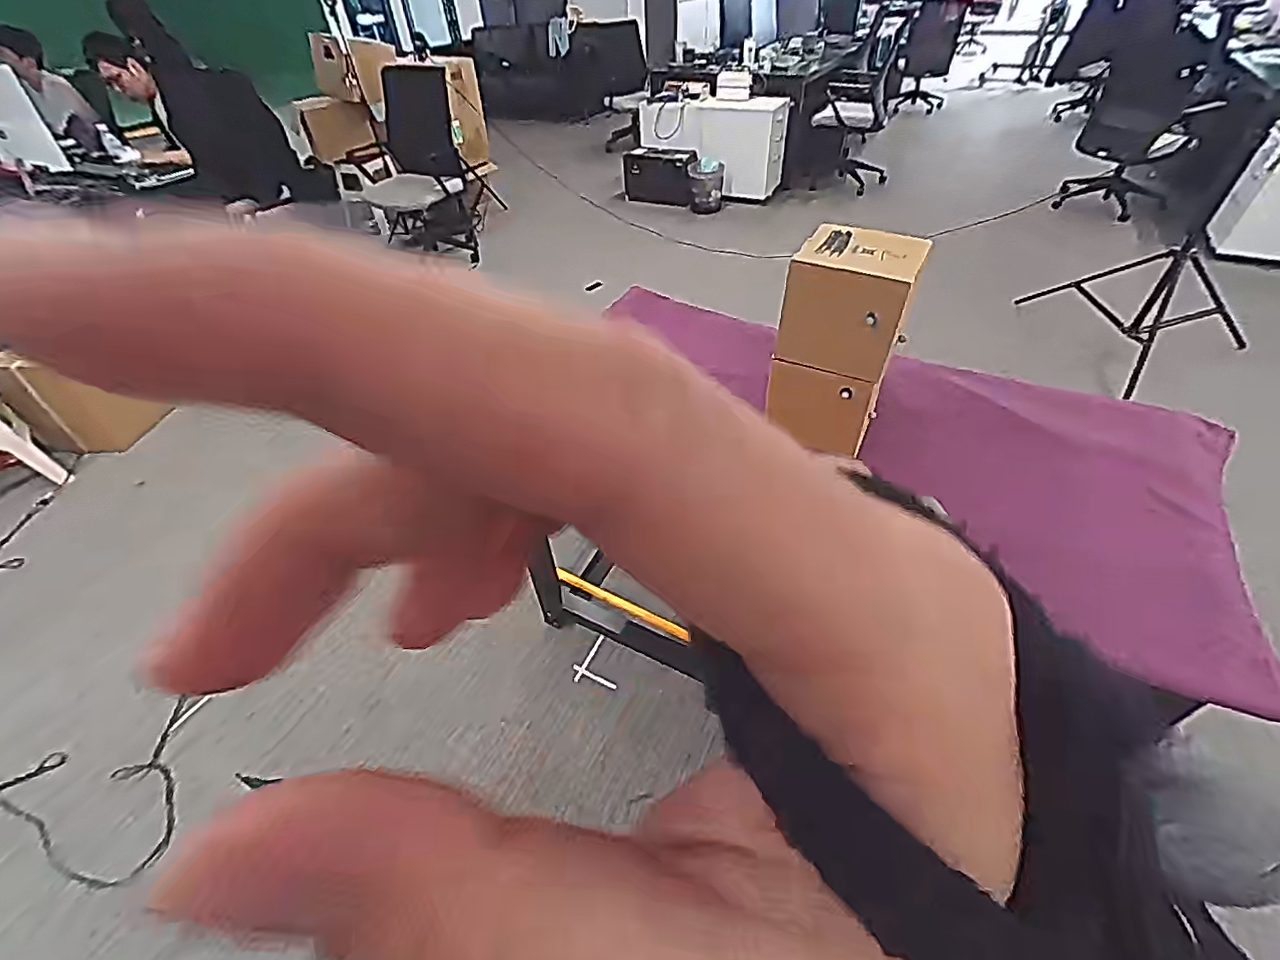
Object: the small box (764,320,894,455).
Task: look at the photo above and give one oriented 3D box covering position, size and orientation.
[{"bbox_3d":[0.340,-0.169,0.992,0.179,0.176,0.168,19,48,21],"label":"small box"}]
